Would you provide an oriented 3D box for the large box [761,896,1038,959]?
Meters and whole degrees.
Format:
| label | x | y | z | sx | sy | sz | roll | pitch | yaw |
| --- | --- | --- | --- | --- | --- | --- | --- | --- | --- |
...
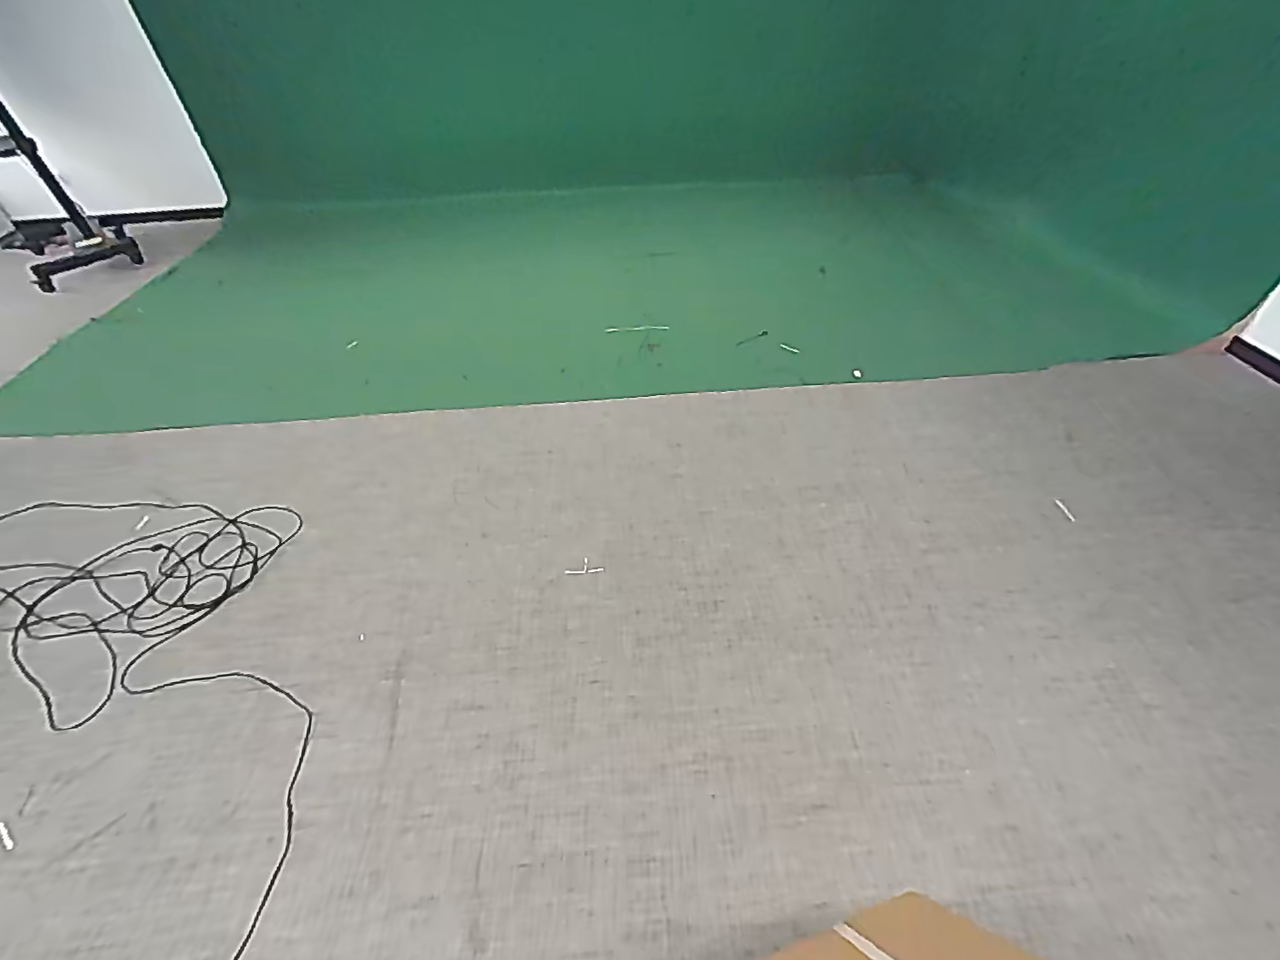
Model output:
| label | x | y | z | sx | sy | sz | roll | pitch | yaw |
| --- | --- | --- | --- | --- | --- | --- | --- | --- | --- |
| large box | 0.393 | 0.789 | 0.642 | 0.320 | 0.408 | 0.320 | -10 | 72 | -15 |
